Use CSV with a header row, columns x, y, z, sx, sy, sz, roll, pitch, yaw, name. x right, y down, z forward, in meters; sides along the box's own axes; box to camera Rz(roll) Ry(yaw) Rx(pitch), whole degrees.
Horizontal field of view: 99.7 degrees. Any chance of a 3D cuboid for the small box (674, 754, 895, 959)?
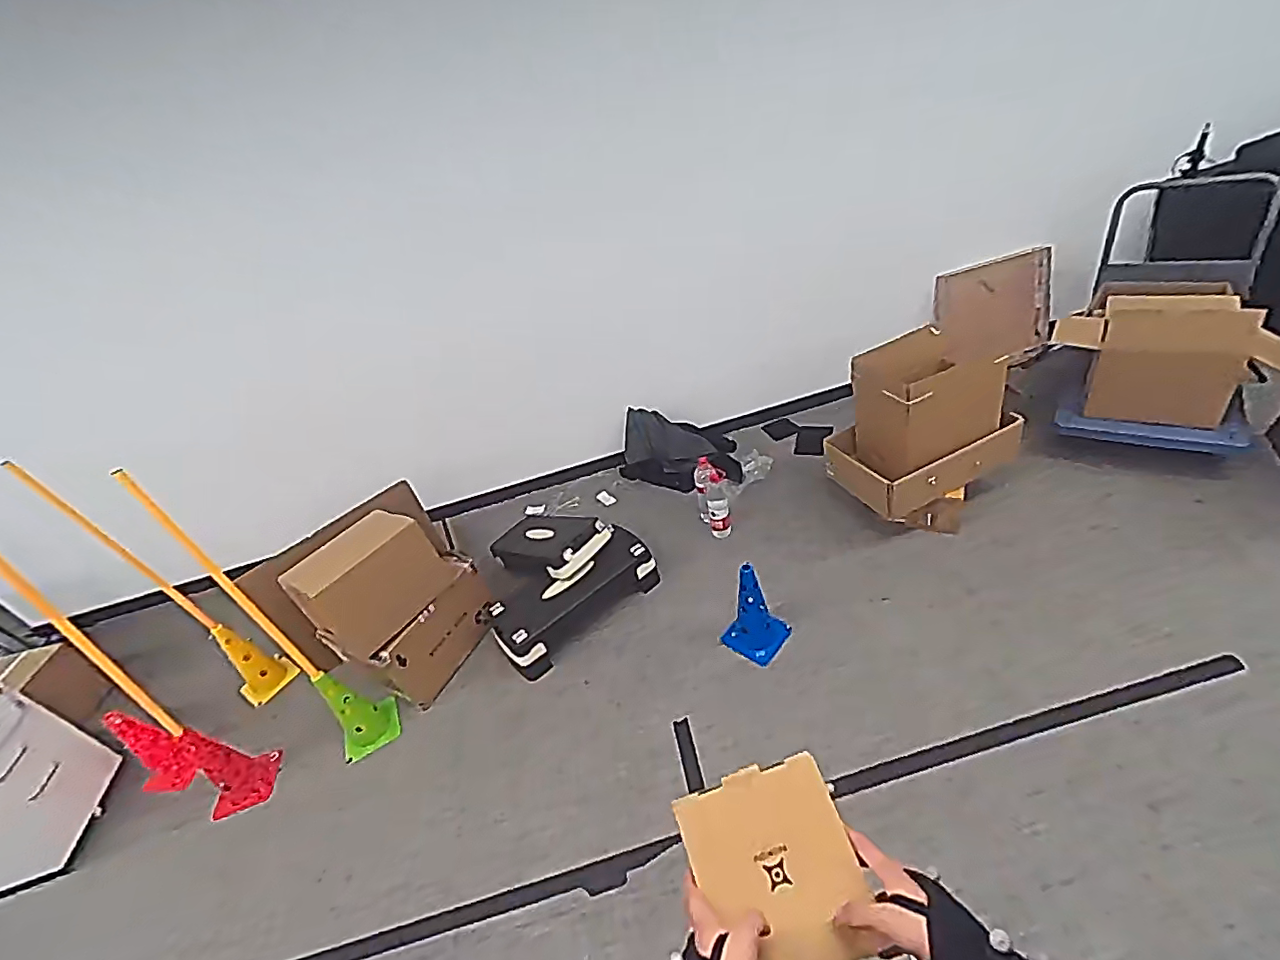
x,y,z,sx,sy,sz,roll,pitch,yaw,name
0.147,0.435,0.607,0.168,0.176,0.179,-18,55,-5,small box
